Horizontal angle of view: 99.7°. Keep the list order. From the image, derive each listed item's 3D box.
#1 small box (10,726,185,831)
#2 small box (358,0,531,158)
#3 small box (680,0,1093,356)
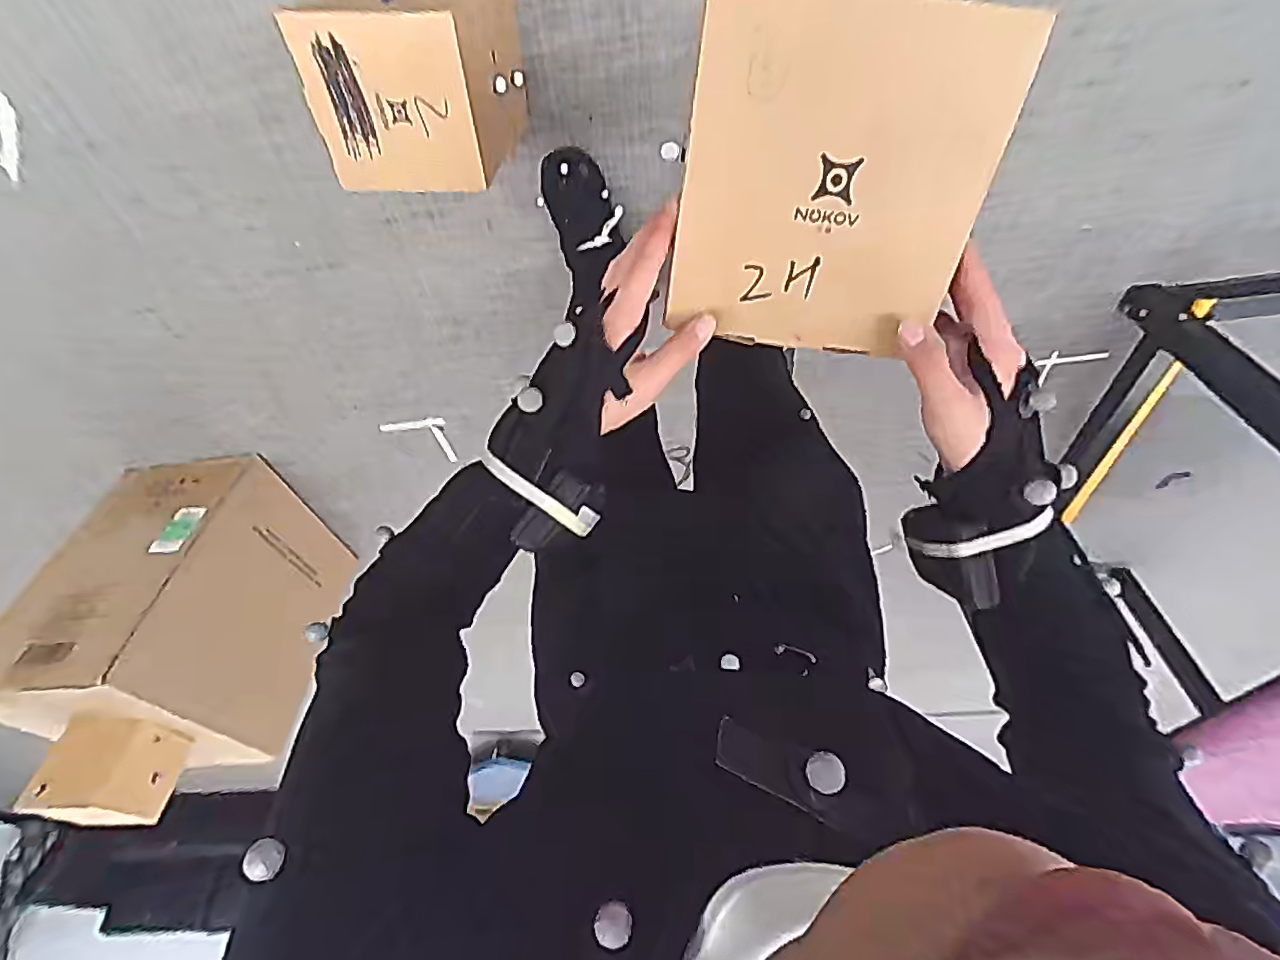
[{"bbox_3d":[-1.128,0.634,1.151,0.179,0.176,0.168,-4,138,5],"label":"small box"},{"bbox_3d":[-0.253,-0.571,0.749,0.168,0.176,0.179,1,139,0],"label":"small box"},{"bbox_3d":[0.120,-0.202,0.353,0.168,0.176,0.179,8,124,1],"label":"small box"}]
